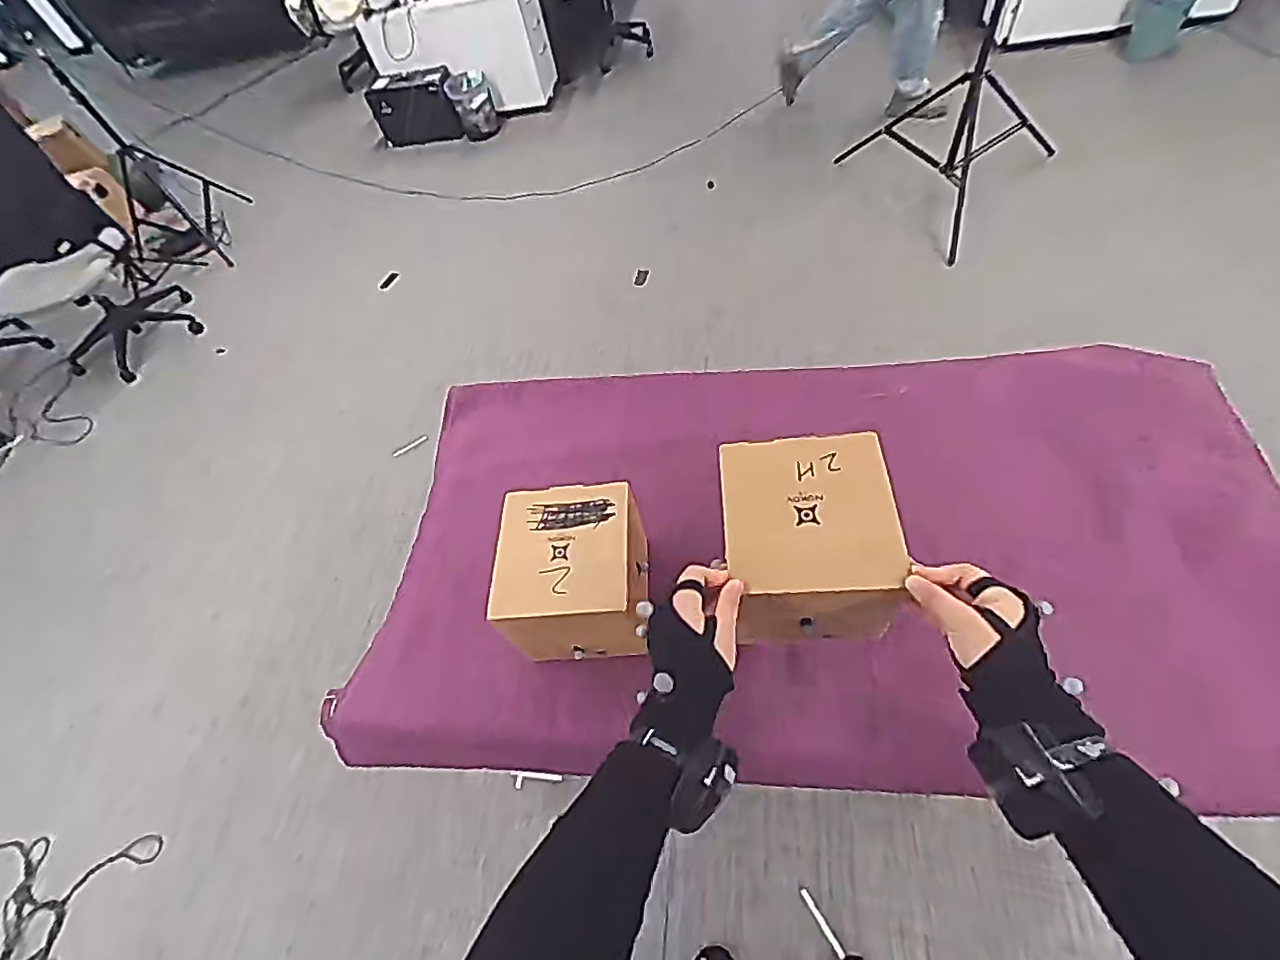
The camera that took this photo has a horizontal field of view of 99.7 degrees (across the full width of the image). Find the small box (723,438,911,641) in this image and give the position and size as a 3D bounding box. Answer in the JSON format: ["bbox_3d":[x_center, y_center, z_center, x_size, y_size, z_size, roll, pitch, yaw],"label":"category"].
[{"bbox_3d":[0.183,0.075,0.611,0.168,0.176,0.179,-3,55,8],"label":"small box"}]

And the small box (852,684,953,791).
[{"bbox_3d":[0.568,0.571,1.192,0.168,0.176,0.179,3,57,13],"label":"small box"}]
